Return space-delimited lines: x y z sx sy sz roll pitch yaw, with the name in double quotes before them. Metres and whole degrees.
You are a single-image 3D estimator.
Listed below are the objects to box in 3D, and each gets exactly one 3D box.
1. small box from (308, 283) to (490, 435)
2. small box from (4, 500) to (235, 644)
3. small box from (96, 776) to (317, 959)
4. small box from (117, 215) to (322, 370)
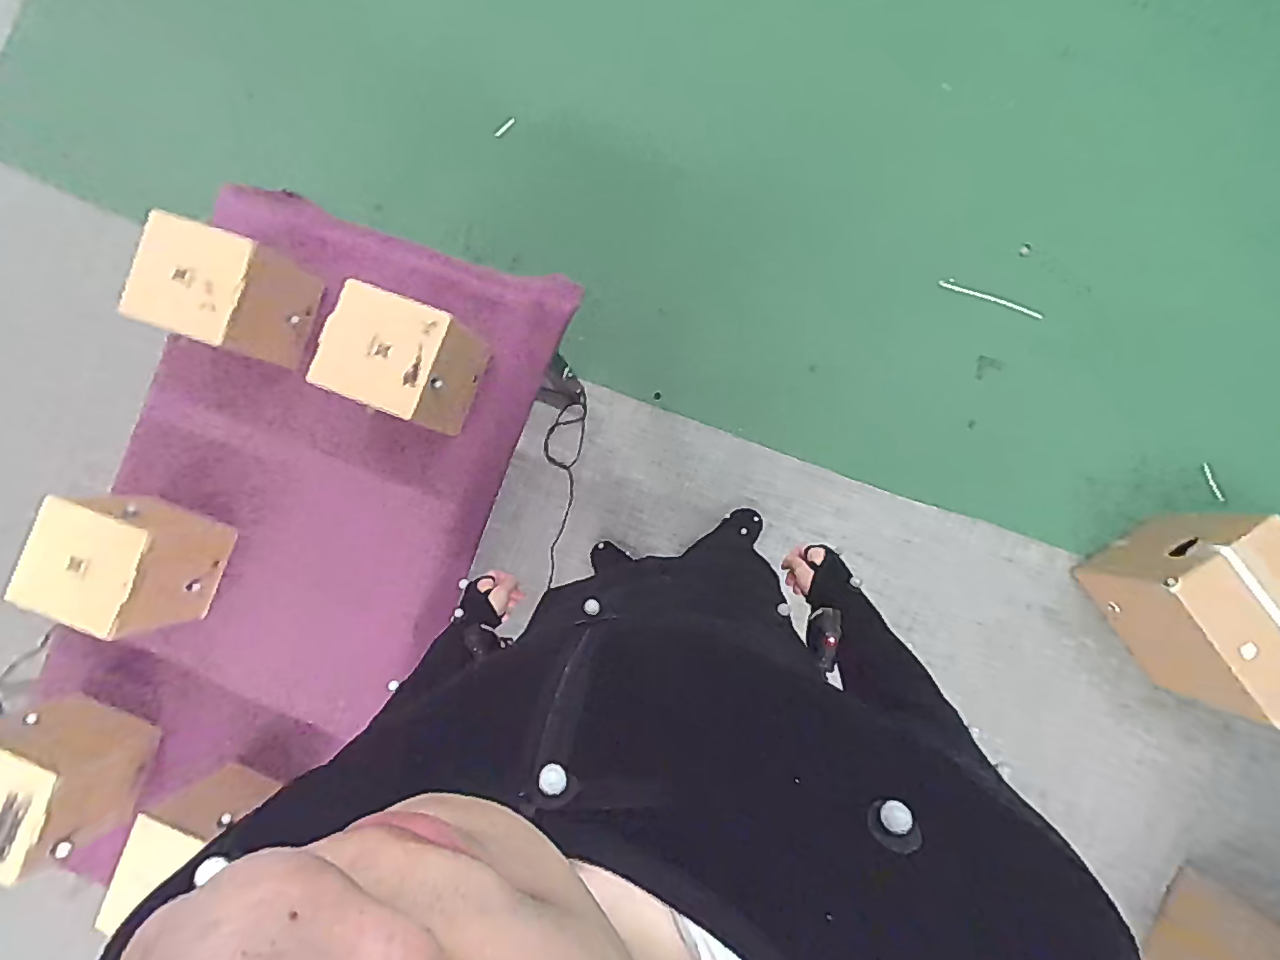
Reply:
"small box" -0.370 -0.180 0.861 0.179 0.176 0.168 21 89 6
"small box" -0.813 0.140 0.864 0.179 0.176 0.168 19 87 2
"small box" -0.641 0.589 0.825 0.179 0.176 0.168 19 87 4
"small box" -0.669 -0.292 0.880 0.179 0.176 0.168 18 90 3
